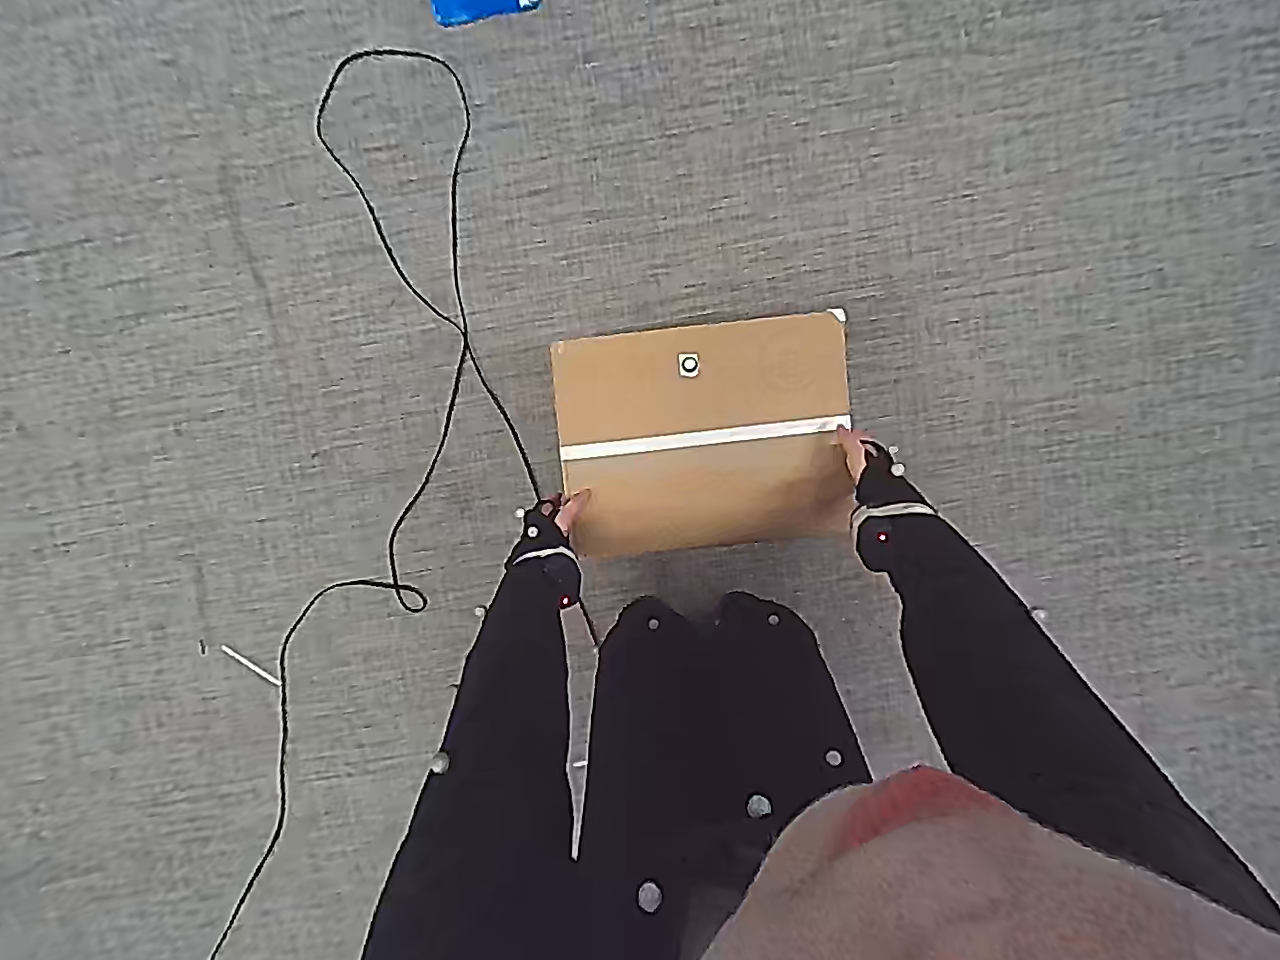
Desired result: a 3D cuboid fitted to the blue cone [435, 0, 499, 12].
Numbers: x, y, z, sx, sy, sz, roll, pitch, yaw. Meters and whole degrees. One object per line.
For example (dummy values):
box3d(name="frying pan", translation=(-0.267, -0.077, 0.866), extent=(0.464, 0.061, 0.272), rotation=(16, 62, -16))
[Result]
box3d(name="blue cone", translation=(-0.290, -0.934, 0.796), extent=(0.193, 0.380, 0.192), rotation=(-12, 95, 0))
